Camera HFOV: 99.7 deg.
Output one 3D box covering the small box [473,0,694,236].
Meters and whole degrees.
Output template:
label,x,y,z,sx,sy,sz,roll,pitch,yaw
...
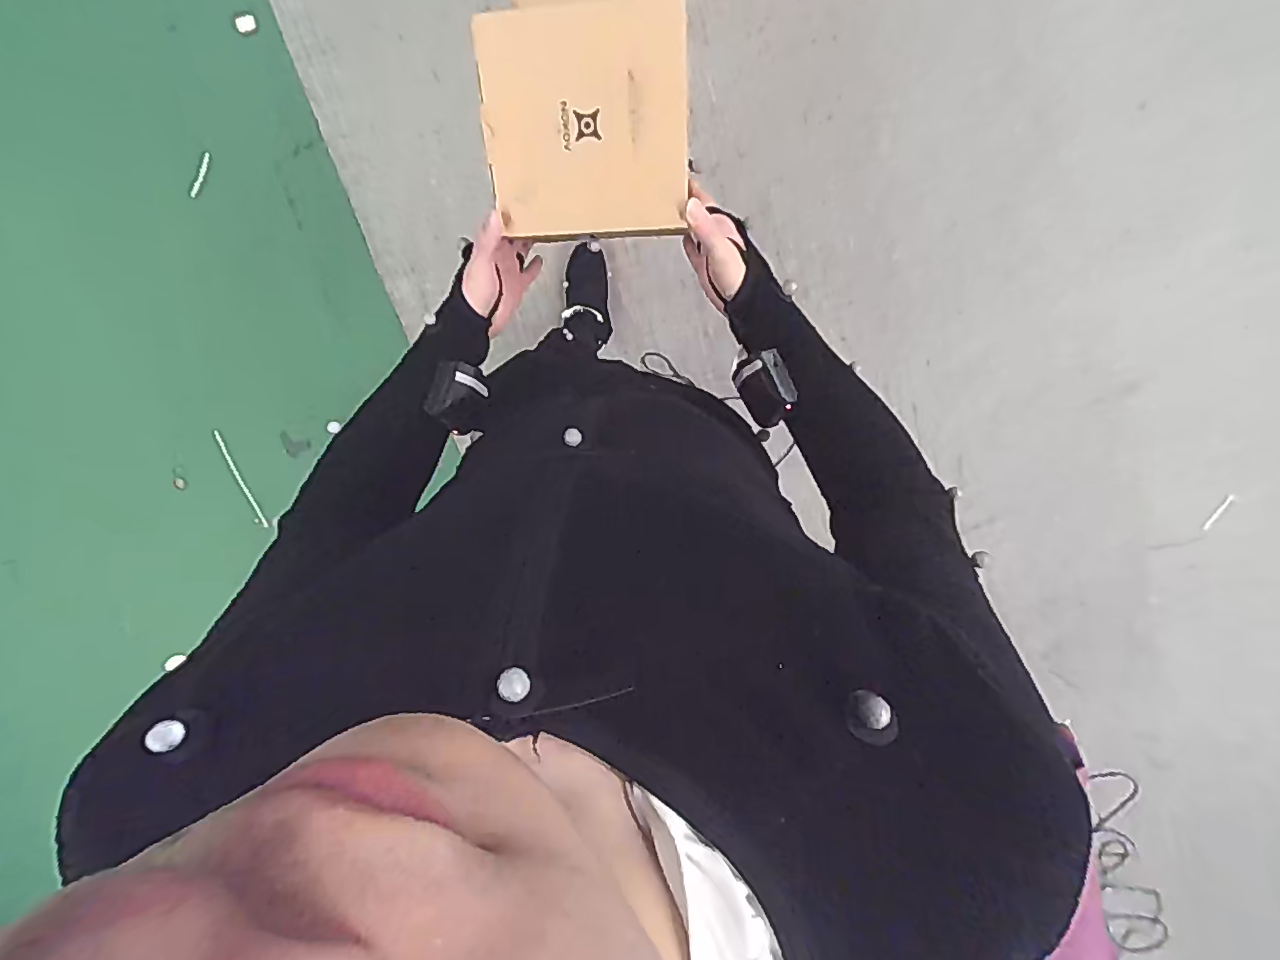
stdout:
label,x,y,z,sx,sy,sz,roll,pitch,yaw
small box,-0.038,-0.332,0.526,0.179,0.176,0.168,0,113,6
